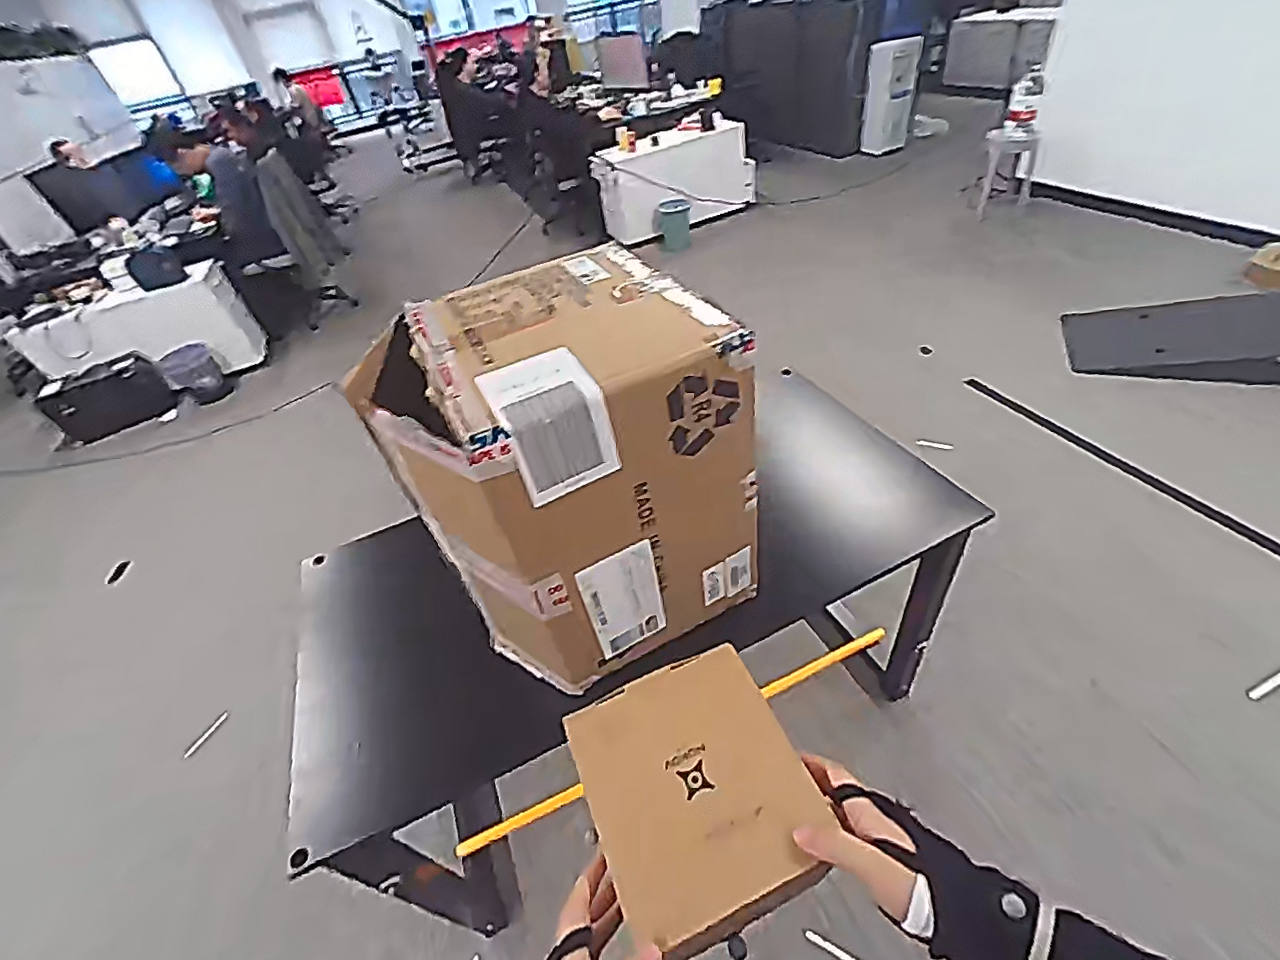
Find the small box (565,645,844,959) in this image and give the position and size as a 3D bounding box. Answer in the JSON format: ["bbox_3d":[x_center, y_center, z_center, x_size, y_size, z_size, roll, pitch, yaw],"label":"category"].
[{"bbox_3d":[0.047,0.287,0.479,0.168,0.176,0.179,-20,46,-12],"label":"small box"}]
